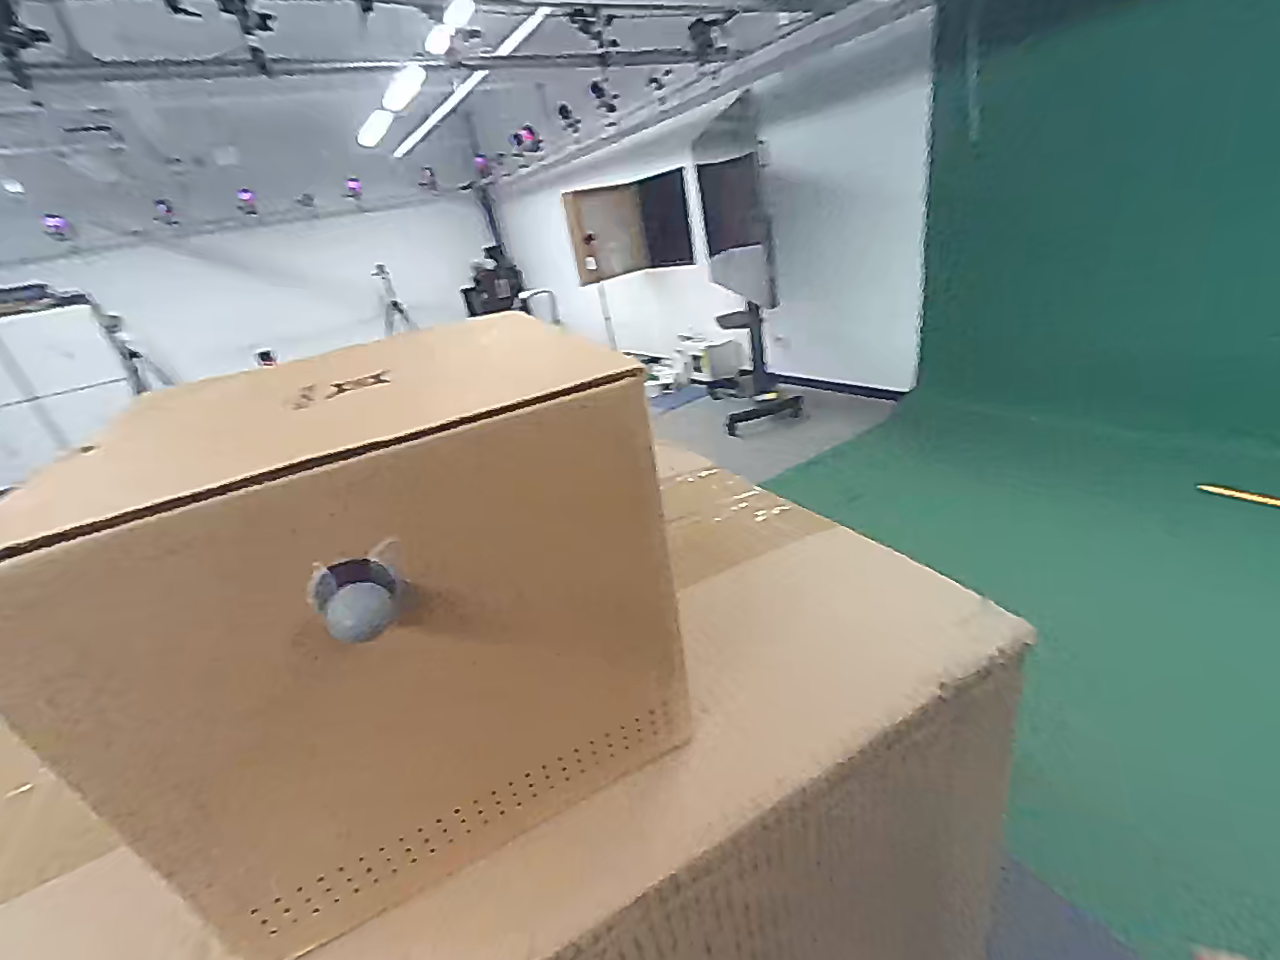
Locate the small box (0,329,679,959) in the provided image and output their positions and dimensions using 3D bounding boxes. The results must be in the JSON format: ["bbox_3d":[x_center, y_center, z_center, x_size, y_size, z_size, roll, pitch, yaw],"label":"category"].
[{"bbox_3d":[-0.093,0.046,0.241,0.179,0.176,0.168,-20,29,-18],"label":"small box"}]
